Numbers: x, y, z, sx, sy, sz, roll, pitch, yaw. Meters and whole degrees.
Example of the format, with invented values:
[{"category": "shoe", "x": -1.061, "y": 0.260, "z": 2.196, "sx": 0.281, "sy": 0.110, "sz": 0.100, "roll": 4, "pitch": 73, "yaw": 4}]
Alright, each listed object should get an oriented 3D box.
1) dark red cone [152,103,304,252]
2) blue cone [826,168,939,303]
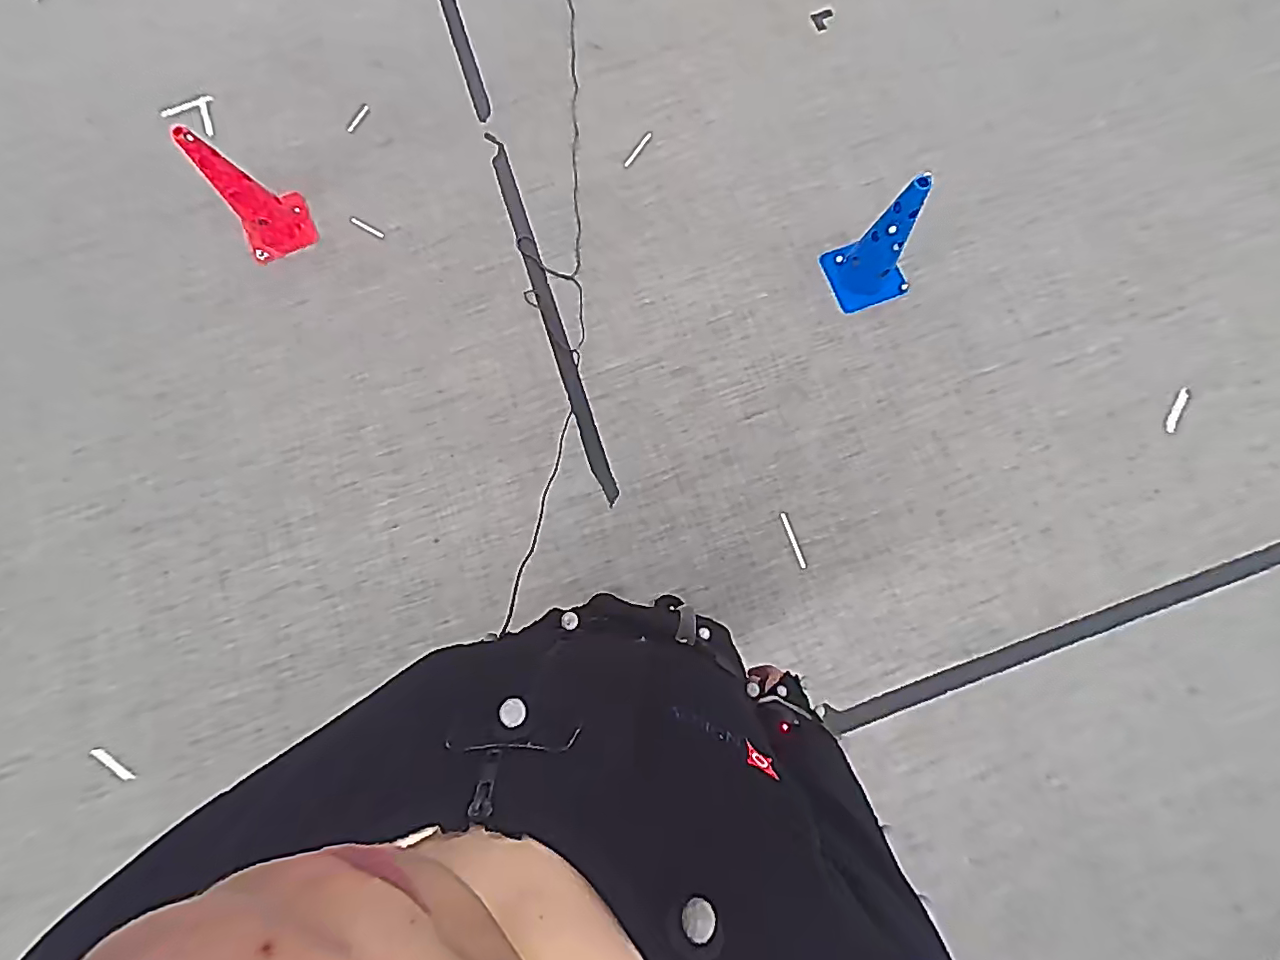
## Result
[{"category": "dark red cone", "x": -1.114, "y": -0.817, "z": 1.445, "sx": 0.201, "sy": 0.394, "sz": 0.202, "roll": -26, "pitch": 79, "yaw": -5}, {"category": "blue cone", "x": 0.635, "y": -0.634, "z": 1.372, "sx": 0.192, "sy": 0.380, "sz": 0.193, "roll": -18, "pitch": 78, "yaw": -3}]
